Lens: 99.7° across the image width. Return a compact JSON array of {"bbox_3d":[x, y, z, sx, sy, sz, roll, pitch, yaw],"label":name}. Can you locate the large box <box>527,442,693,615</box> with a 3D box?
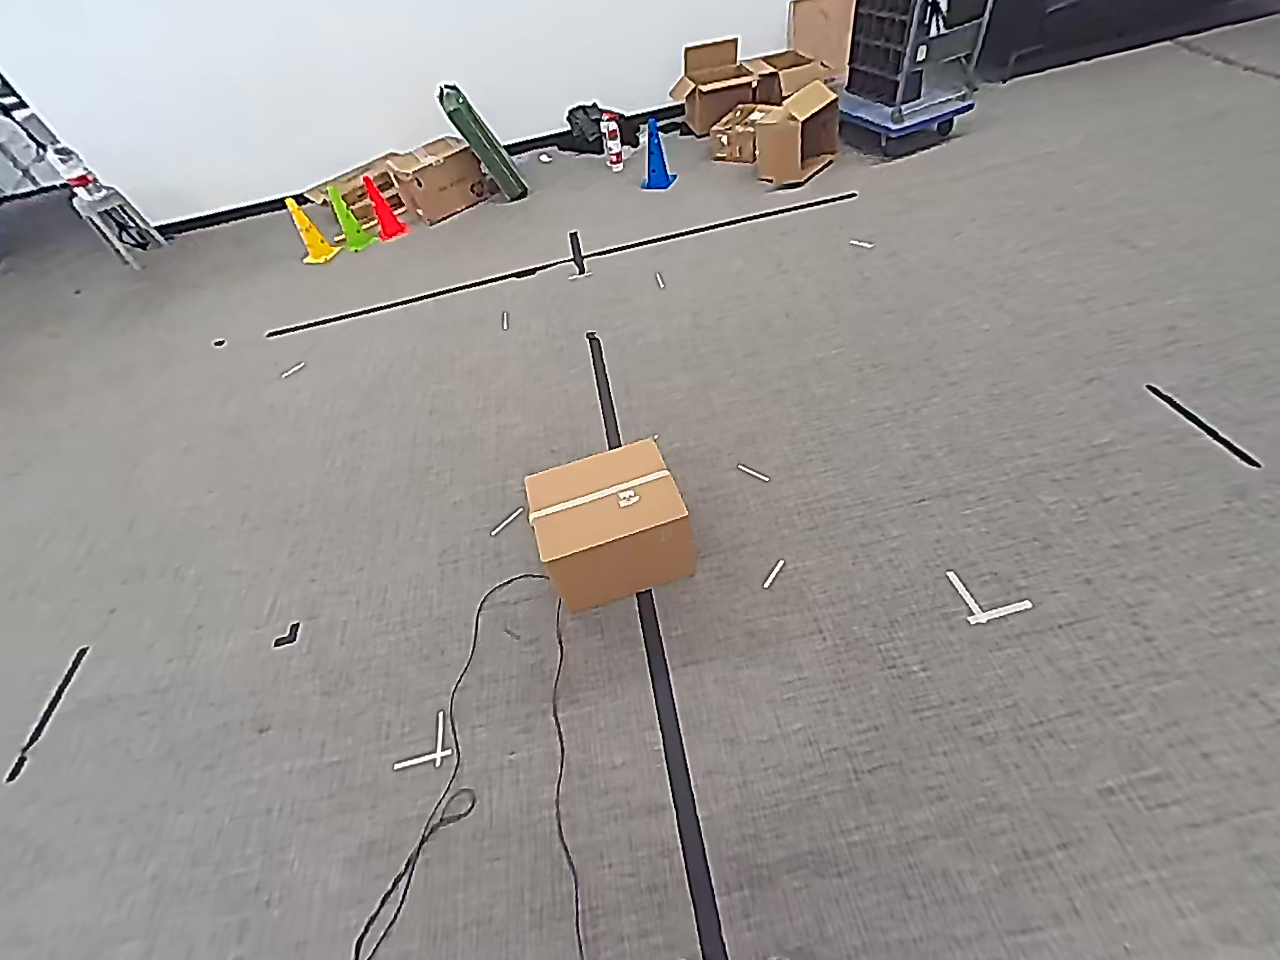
[{"bbox_3d":[-0.085,0.146,1.610,0.408,0.320,0.320,-17,50,-5],"label":"large box"}]
